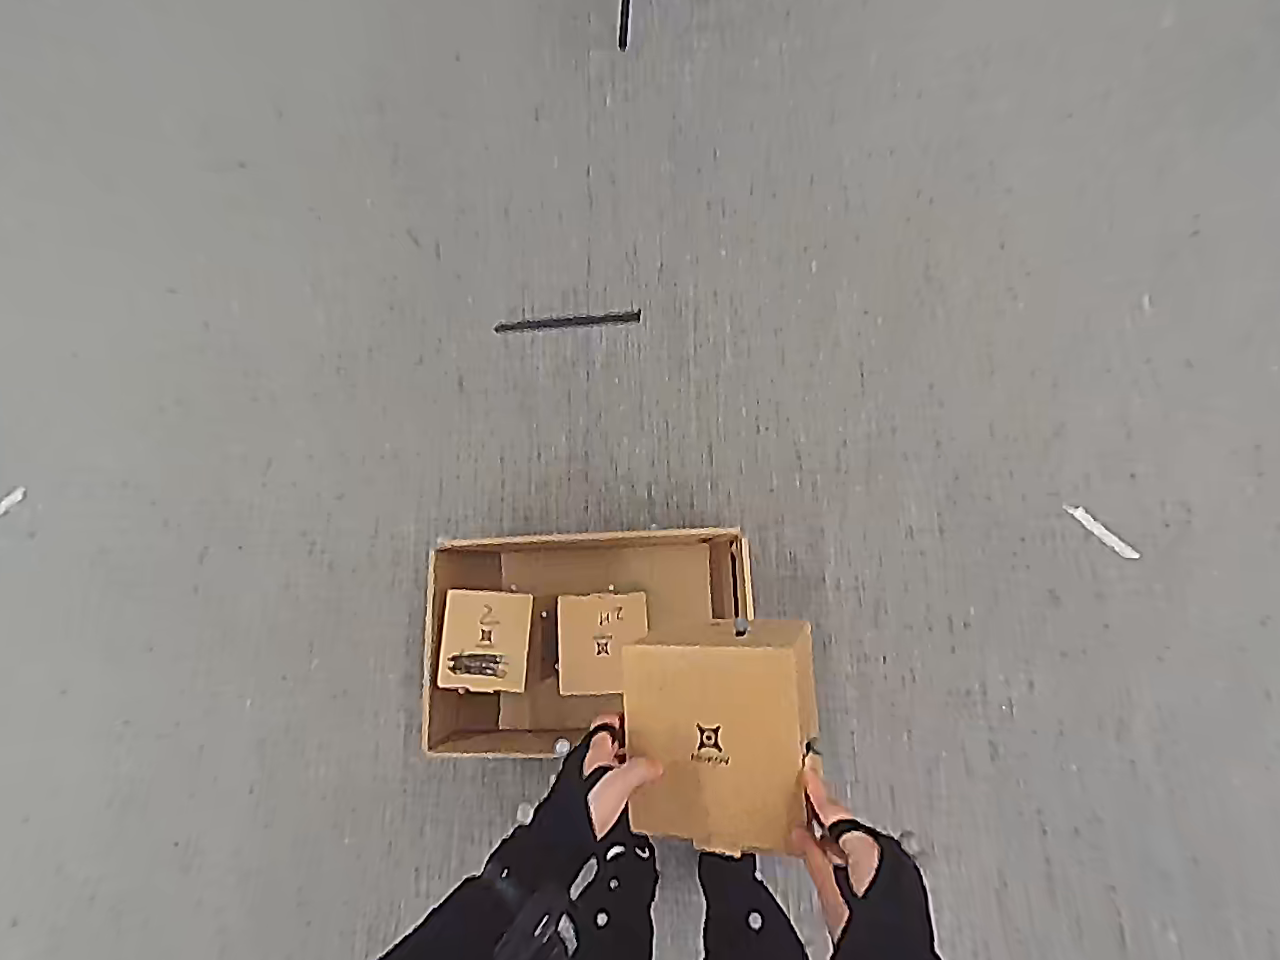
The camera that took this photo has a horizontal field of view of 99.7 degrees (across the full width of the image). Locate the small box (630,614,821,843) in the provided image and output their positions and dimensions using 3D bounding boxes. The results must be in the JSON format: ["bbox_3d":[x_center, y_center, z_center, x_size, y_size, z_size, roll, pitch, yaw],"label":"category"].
[{"bbox_3d":[0.098,0.239,0.573,0.168,0.176,0.179,-6,84,20],"label":"small box"}]

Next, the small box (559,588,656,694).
[{"bbox_3d":[-0.055,0.303,1.043,0.168,0.176,0.179,-4,79,5],"label":"small box"}]
